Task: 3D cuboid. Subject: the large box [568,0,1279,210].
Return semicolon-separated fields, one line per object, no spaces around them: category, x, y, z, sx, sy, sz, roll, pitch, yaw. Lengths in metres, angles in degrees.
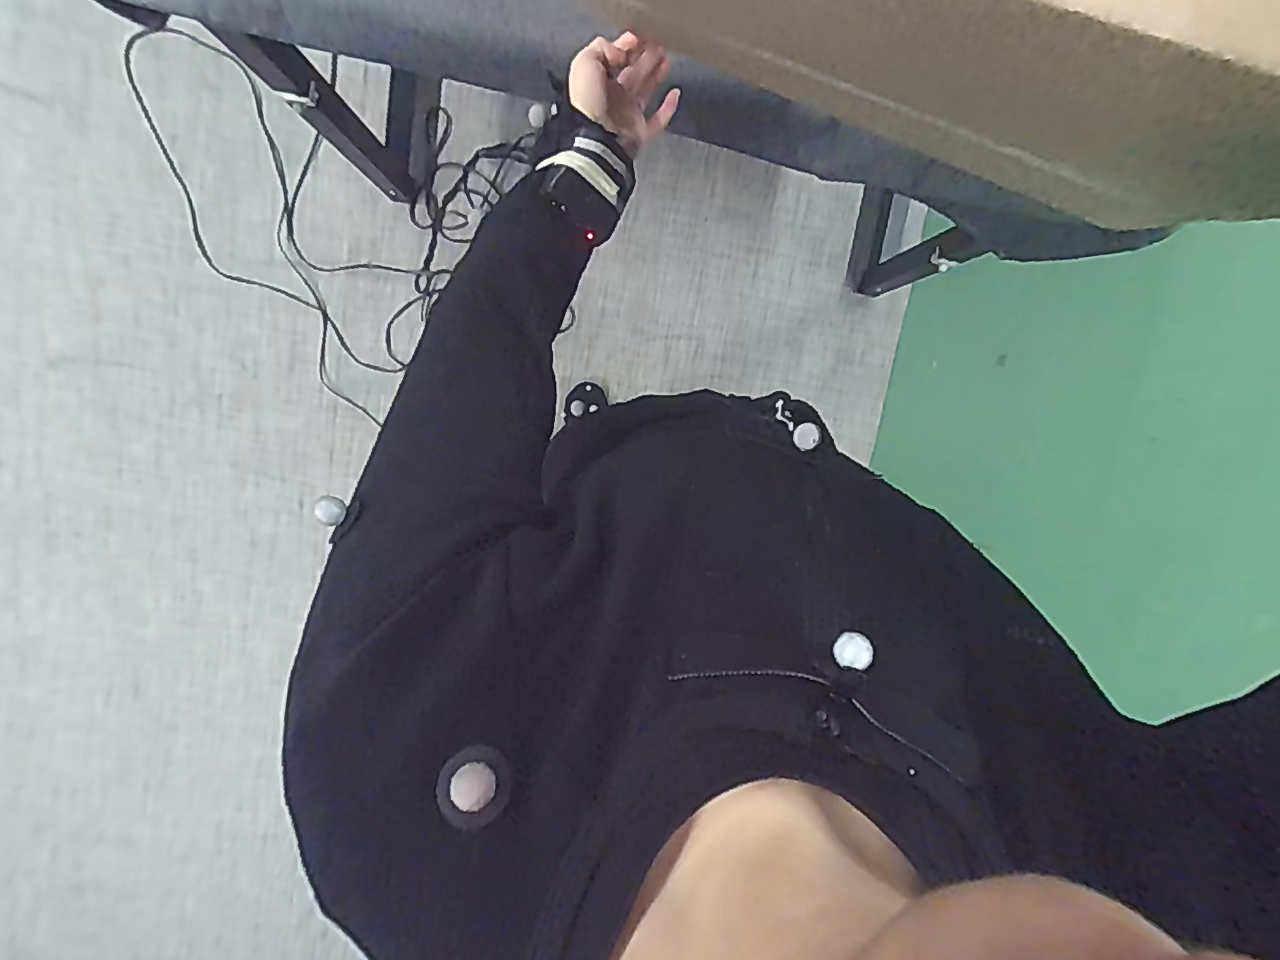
large box;0.161;-0.349;0.232;0.408;0.320;0.320;28;120;11
